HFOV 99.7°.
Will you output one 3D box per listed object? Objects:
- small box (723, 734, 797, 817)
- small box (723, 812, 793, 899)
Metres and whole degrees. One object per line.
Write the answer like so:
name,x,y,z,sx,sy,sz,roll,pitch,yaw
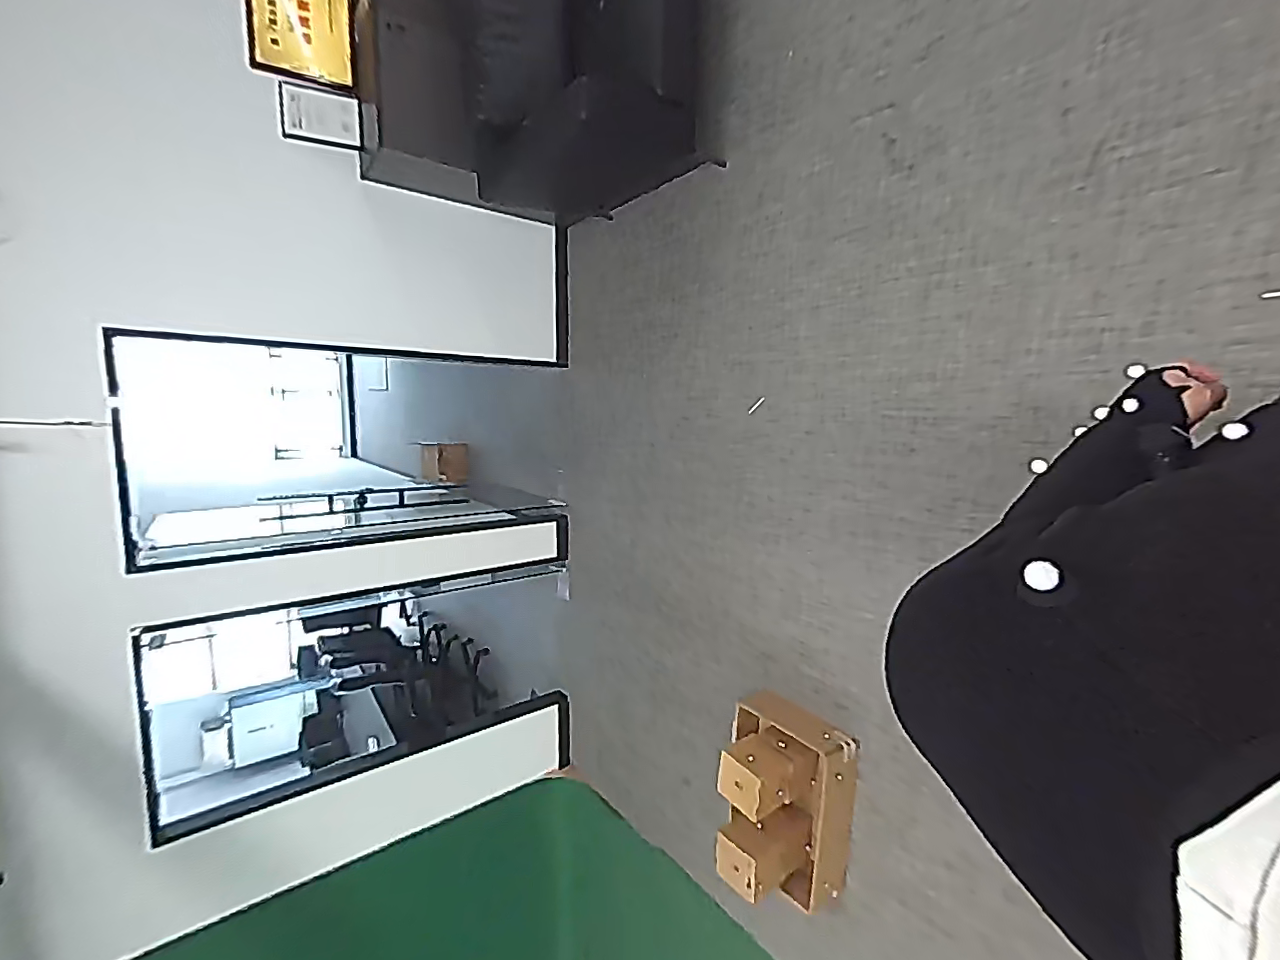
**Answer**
small box,0.415,1.013,1.876,0.179,0.176,0.168,17,107,49
small box,0.415,1.311,1.910,0.179,0.176,0.168,8,101,52
